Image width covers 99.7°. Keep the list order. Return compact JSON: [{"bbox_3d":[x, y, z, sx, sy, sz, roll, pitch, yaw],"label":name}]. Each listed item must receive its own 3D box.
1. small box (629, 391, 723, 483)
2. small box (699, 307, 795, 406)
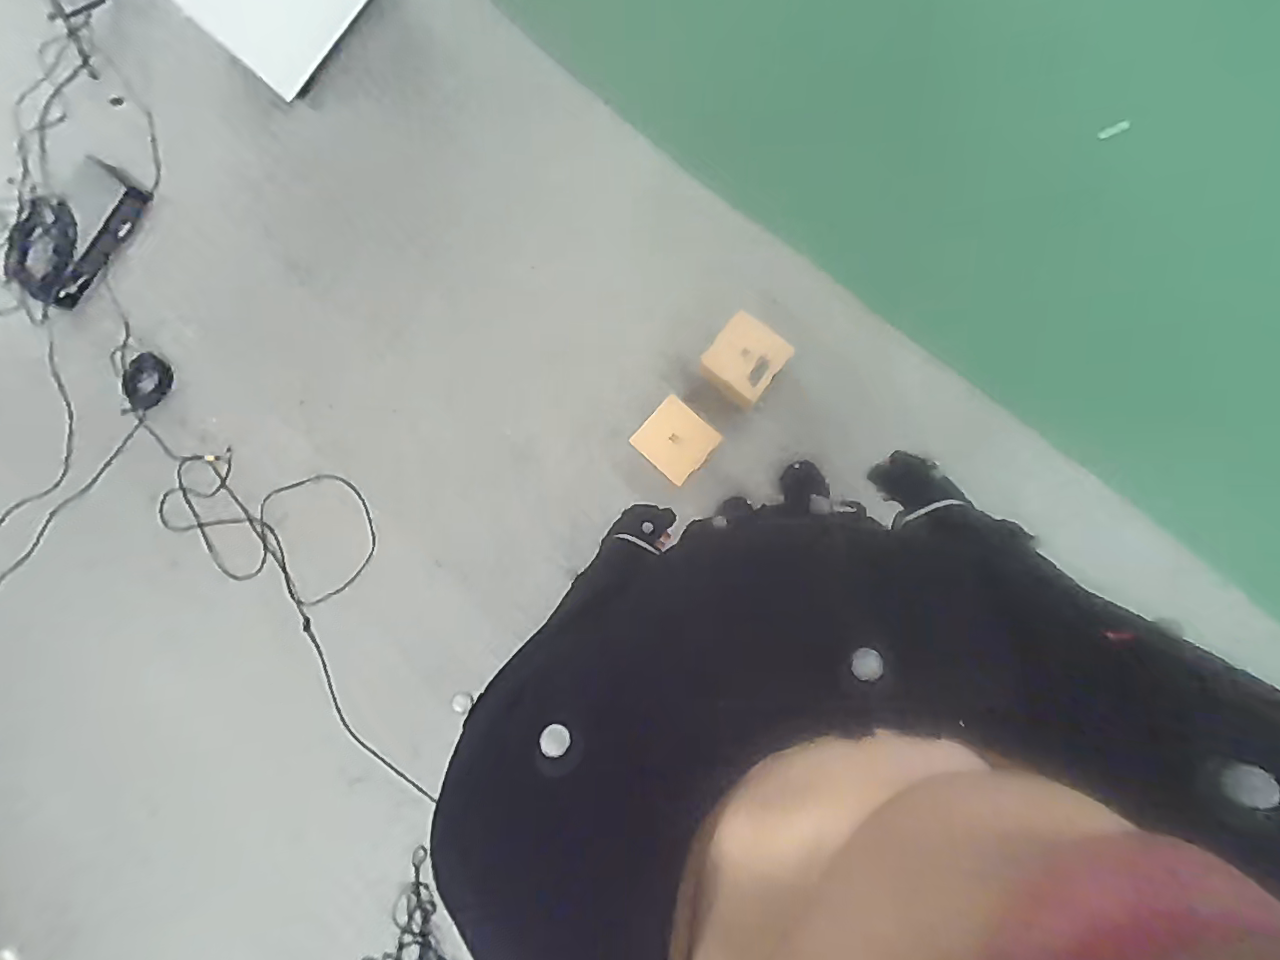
[{"bbox_3d":[0.098,-0.104,1.417,0.179,0.176,0.168,43,95,7],"label":"small box"},{"bbox_3d":[0.272,-0.307,1.392,0.179,0.176,0.168,39,95,8],"label":"small box"}]
